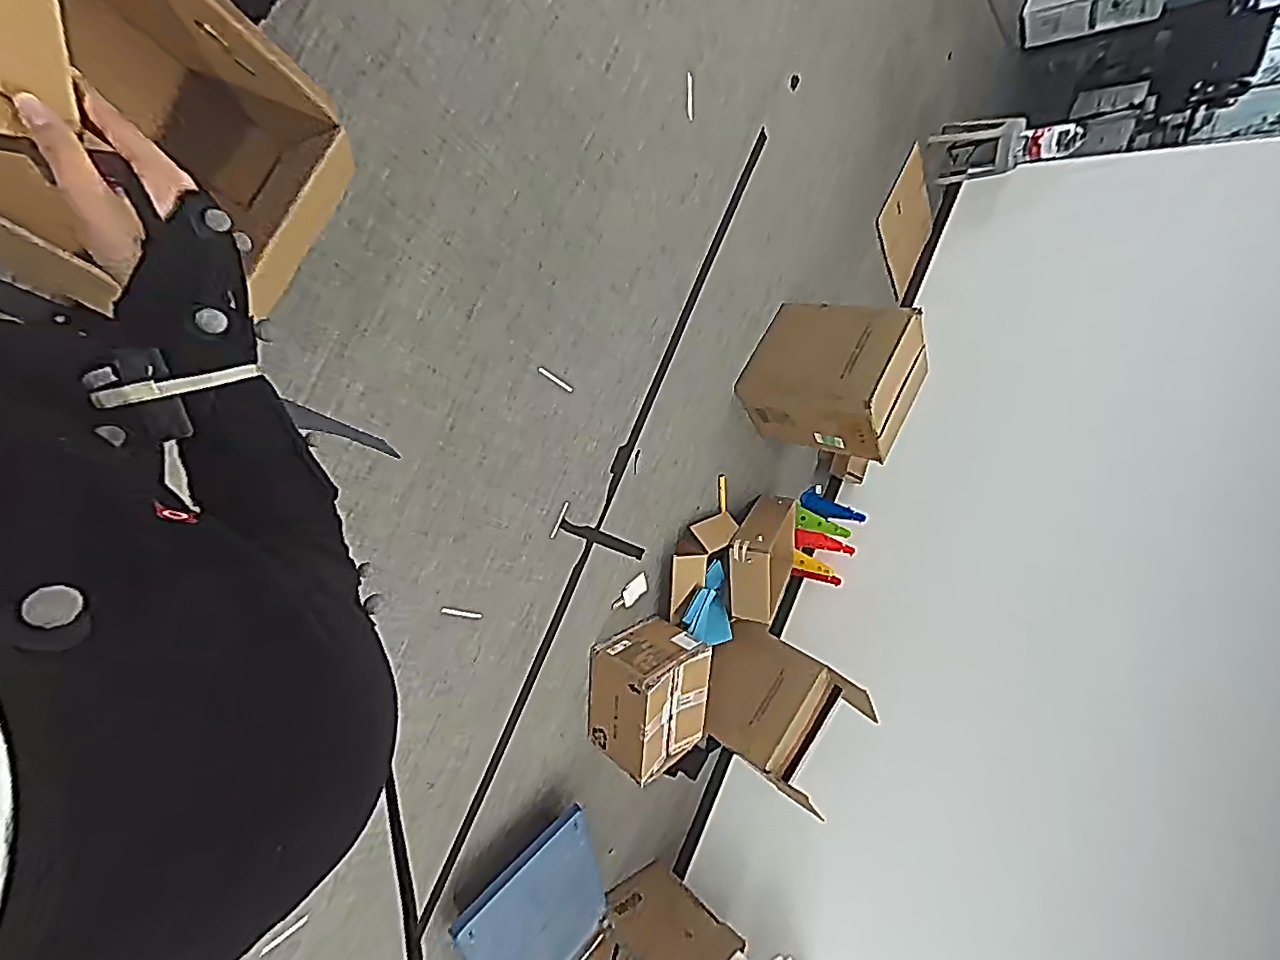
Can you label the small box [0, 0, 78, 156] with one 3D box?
[{"bbox_3d":[-0.425,-0.283,0.272,0.179,0.176,0.168,-12,117,-44],"label":"small box"}]
